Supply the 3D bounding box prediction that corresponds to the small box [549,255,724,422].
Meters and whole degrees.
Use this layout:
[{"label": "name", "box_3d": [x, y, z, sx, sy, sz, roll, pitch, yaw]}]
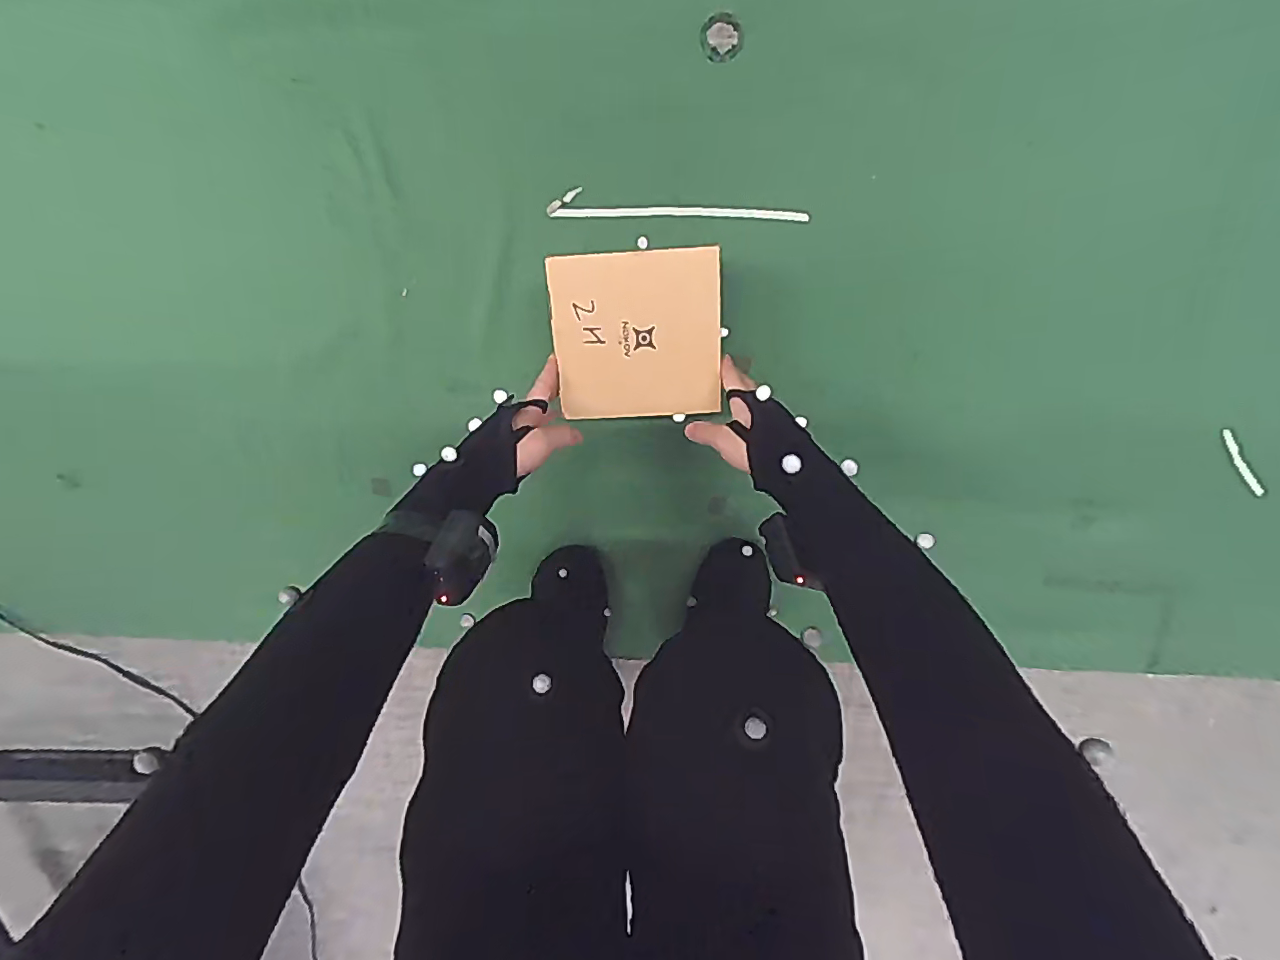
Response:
[{"label": "small box", "box_3d": [0.002, -0.168, 0.634, 0.179, 0.176, 0.168, -2, 108, 4]}]
